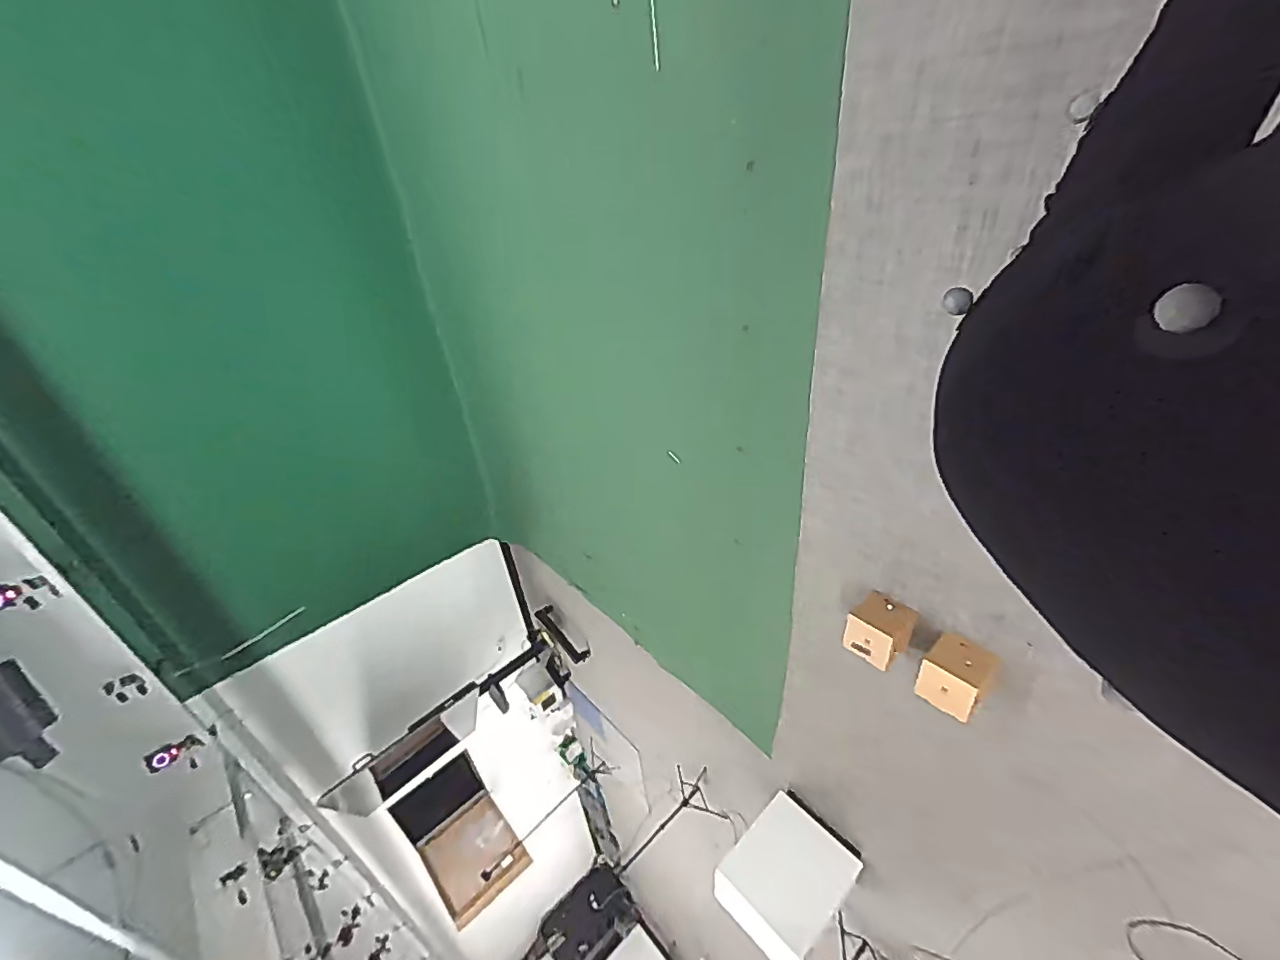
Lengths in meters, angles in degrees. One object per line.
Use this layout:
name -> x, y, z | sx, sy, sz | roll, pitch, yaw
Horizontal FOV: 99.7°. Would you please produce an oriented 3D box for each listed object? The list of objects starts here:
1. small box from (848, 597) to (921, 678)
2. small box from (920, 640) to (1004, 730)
small box -> 0.863, 0.550, 1.909 | 0.168, 0.176, 0.179 | 29, 135, 41
small box -> 1.038, 0.651, 1.740 | 0.168, 0.176, 0.179 | 28, 136, 42
